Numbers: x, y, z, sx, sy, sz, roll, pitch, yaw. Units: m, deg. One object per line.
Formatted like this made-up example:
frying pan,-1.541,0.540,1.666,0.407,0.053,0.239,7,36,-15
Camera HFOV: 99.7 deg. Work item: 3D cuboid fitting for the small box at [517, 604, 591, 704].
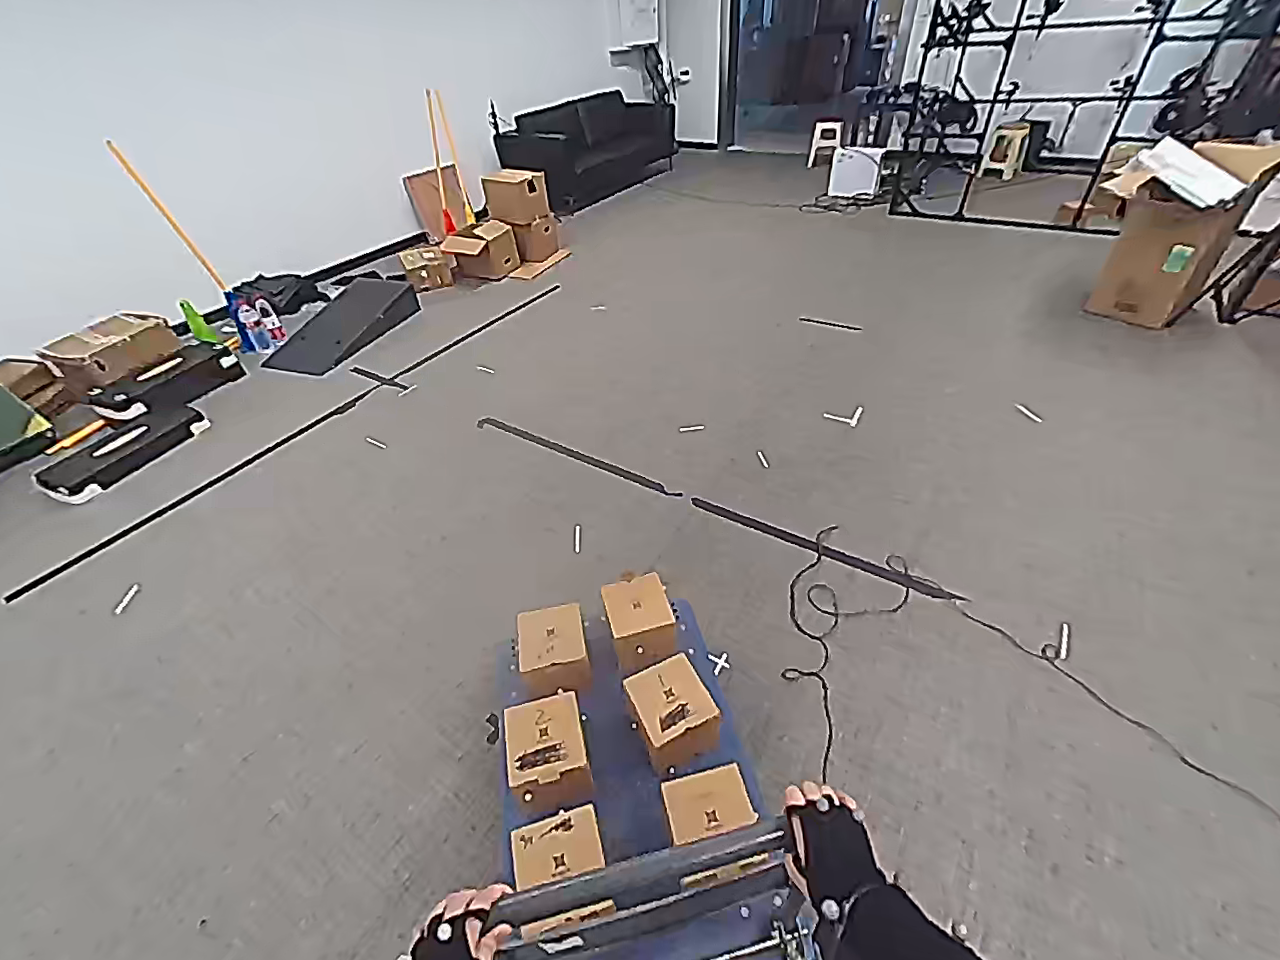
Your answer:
small box,-0.226,0.458,1.428,0.168,0.176,0.179,-10,42,-7

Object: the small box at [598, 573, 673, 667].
small box,-0.010,0.392,1.491,0.168,0.176,0.179,-13,42,-10

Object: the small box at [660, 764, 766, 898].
small box,0.143,0.719,1.102,0.168,0.176,0.179,-11,41,-8

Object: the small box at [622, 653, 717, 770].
small box,0.071,0.559,1.290,0.168,0.176,0.179,-20,42,-18

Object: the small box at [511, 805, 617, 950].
small box,-0.145,0.779,1.054,0.168,0.176,0.179,-13,42,-11
